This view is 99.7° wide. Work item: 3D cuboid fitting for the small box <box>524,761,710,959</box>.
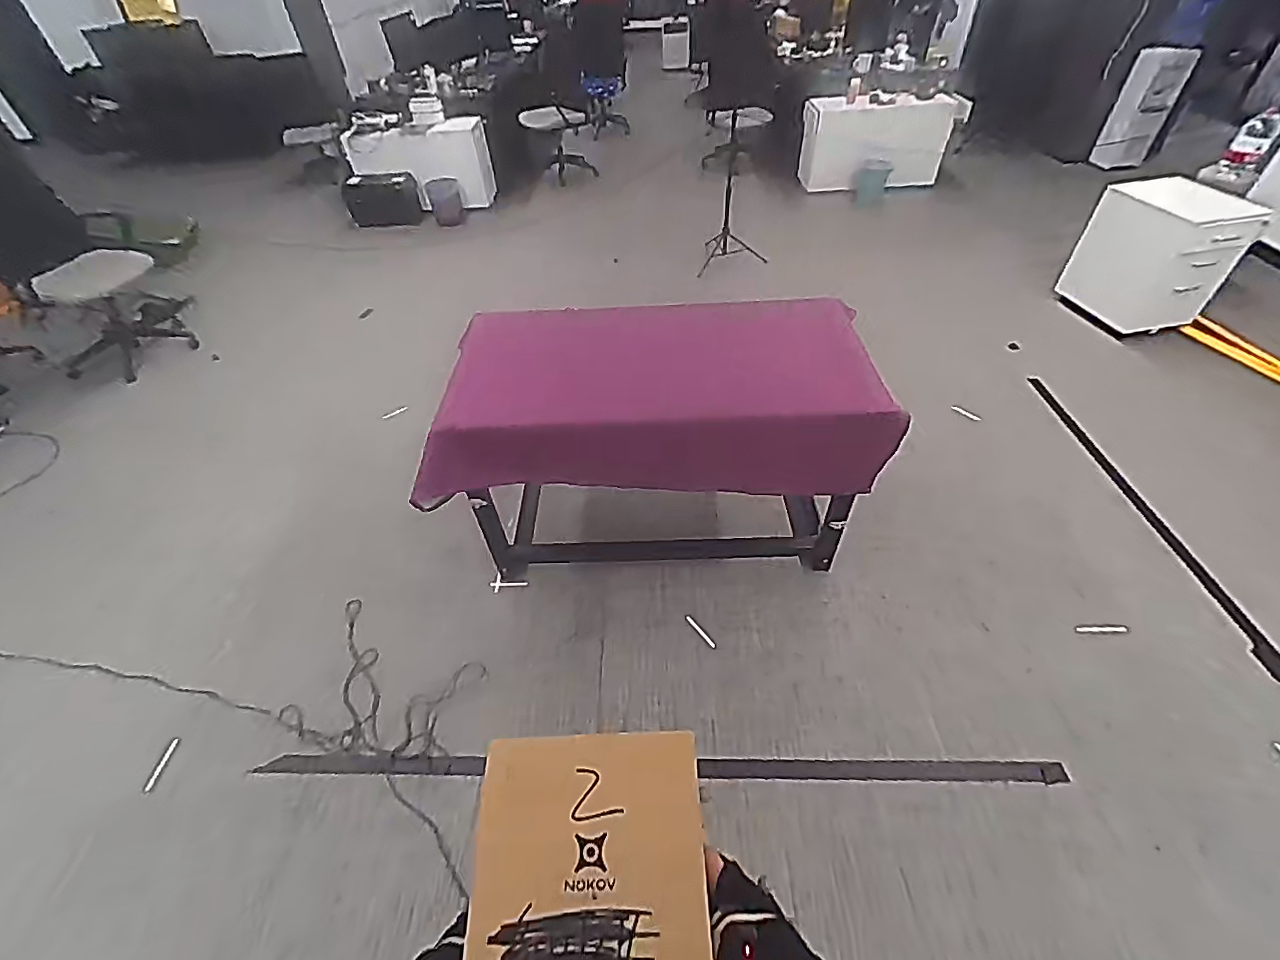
[{"bbox_3d":[-0.022,0.414,0.576,0.168,0.176,0.179,-4,55,0],"label":"small box"}]
